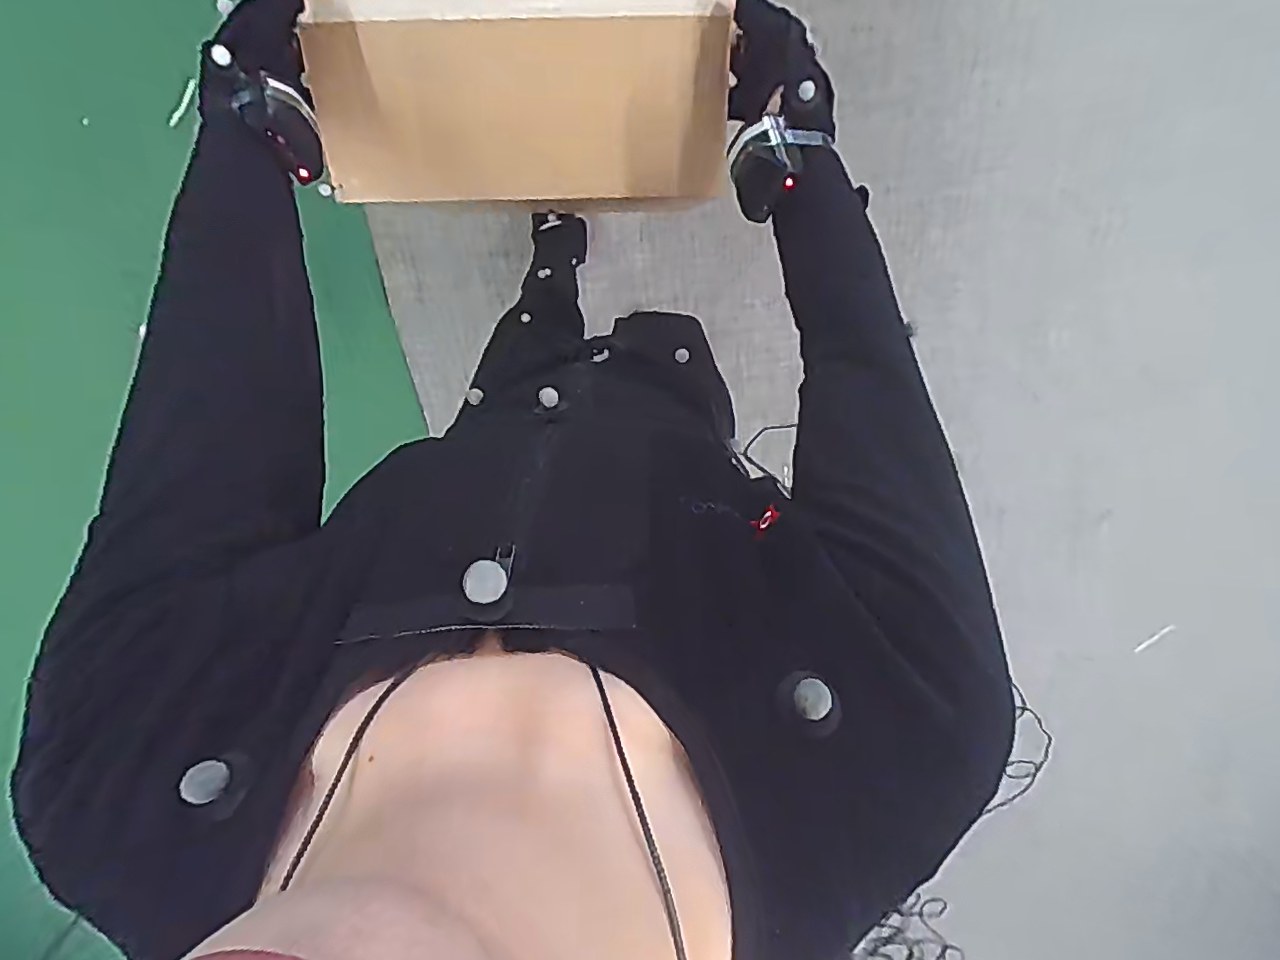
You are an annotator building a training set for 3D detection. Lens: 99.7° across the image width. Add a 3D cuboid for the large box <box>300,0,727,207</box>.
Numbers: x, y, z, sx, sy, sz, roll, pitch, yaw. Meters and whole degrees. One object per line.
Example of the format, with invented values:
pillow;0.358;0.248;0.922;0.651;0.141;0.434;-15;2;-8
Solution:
large box;-0.115;-0.502;0.635;0.408;0.320;0.320;-1;113;0
